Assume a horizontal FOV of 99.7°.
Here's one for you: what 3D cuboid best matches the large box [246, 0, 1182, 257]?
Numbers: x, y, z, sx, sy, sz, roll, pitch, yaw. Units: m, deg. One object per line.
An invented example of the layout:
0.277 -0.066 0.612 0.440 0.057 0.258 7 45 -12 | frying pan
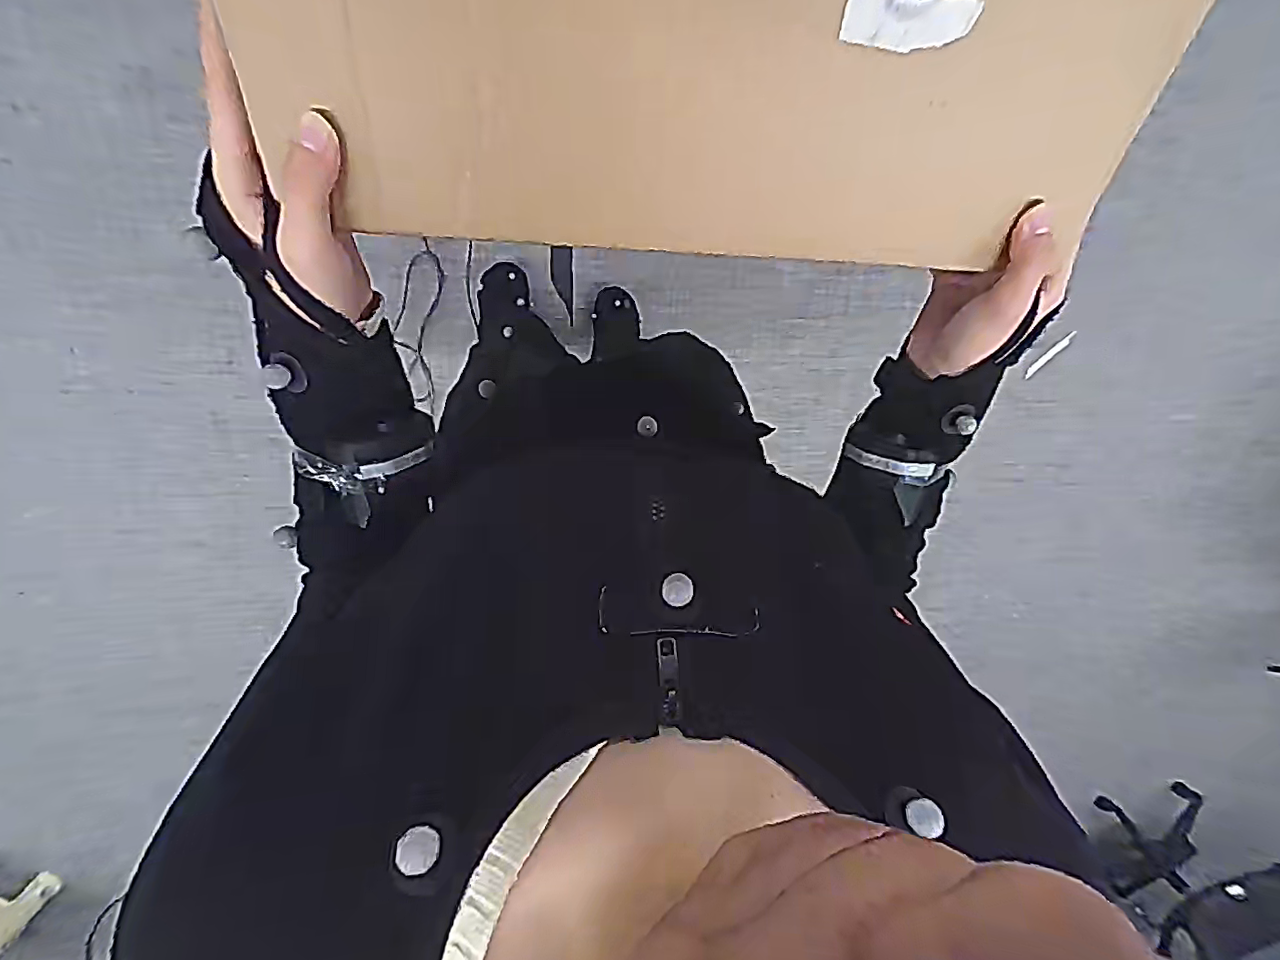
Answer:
0.029 -0.334 0.309 0.408 0.320 0.320 -1 128 -9 | large box
